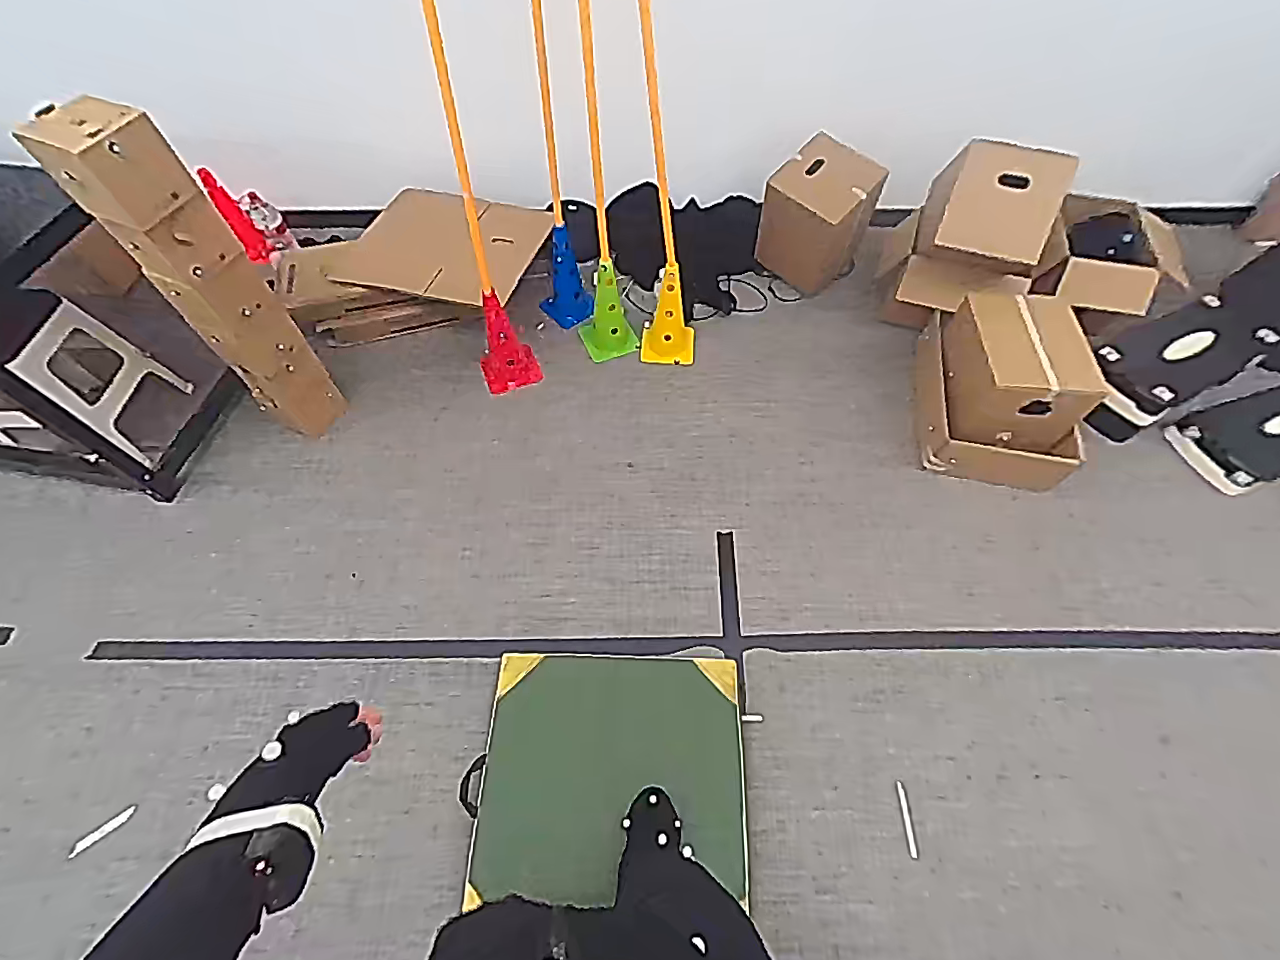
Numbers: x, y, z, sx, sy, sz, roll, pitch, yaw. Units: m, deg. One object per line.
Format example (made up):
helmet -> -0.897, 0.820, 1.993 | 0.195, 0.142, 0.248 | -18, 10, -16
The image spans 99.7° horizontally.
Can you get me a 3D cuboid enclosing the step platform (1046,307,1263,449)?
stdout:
step platform -> 1.826, -0.373, 1.924 | 0.684, 0.204, 0.286 | -25, 62, -14
